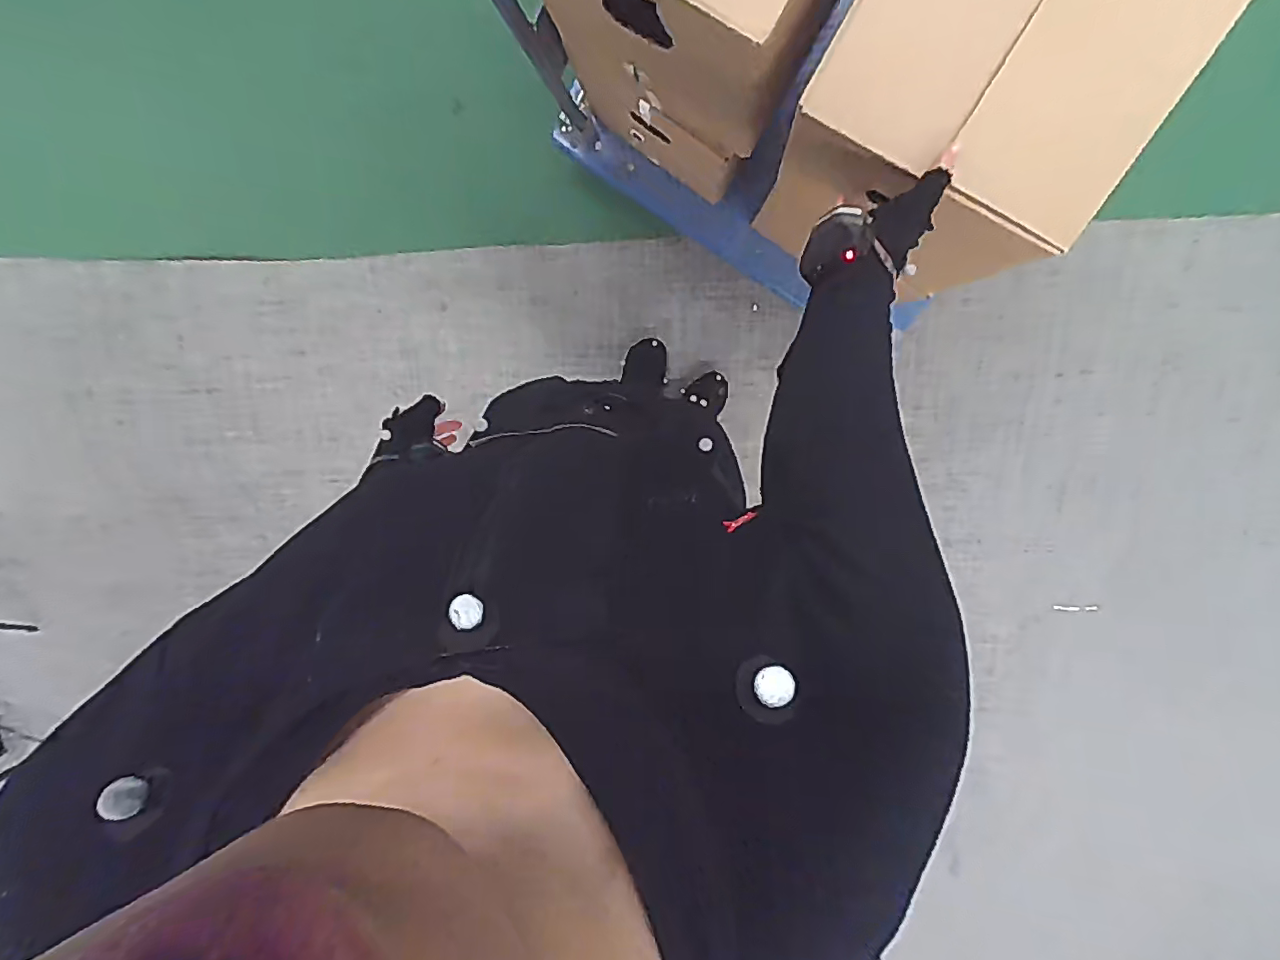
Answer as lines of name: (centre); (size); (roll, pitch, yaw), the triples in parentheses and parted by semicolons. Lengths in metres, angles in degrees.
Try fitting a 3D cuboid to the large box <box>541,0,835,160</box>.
large box: (0.100, -0.685, 0.623); (0.320, 0.320, 0.408); (31, 104, 1)
